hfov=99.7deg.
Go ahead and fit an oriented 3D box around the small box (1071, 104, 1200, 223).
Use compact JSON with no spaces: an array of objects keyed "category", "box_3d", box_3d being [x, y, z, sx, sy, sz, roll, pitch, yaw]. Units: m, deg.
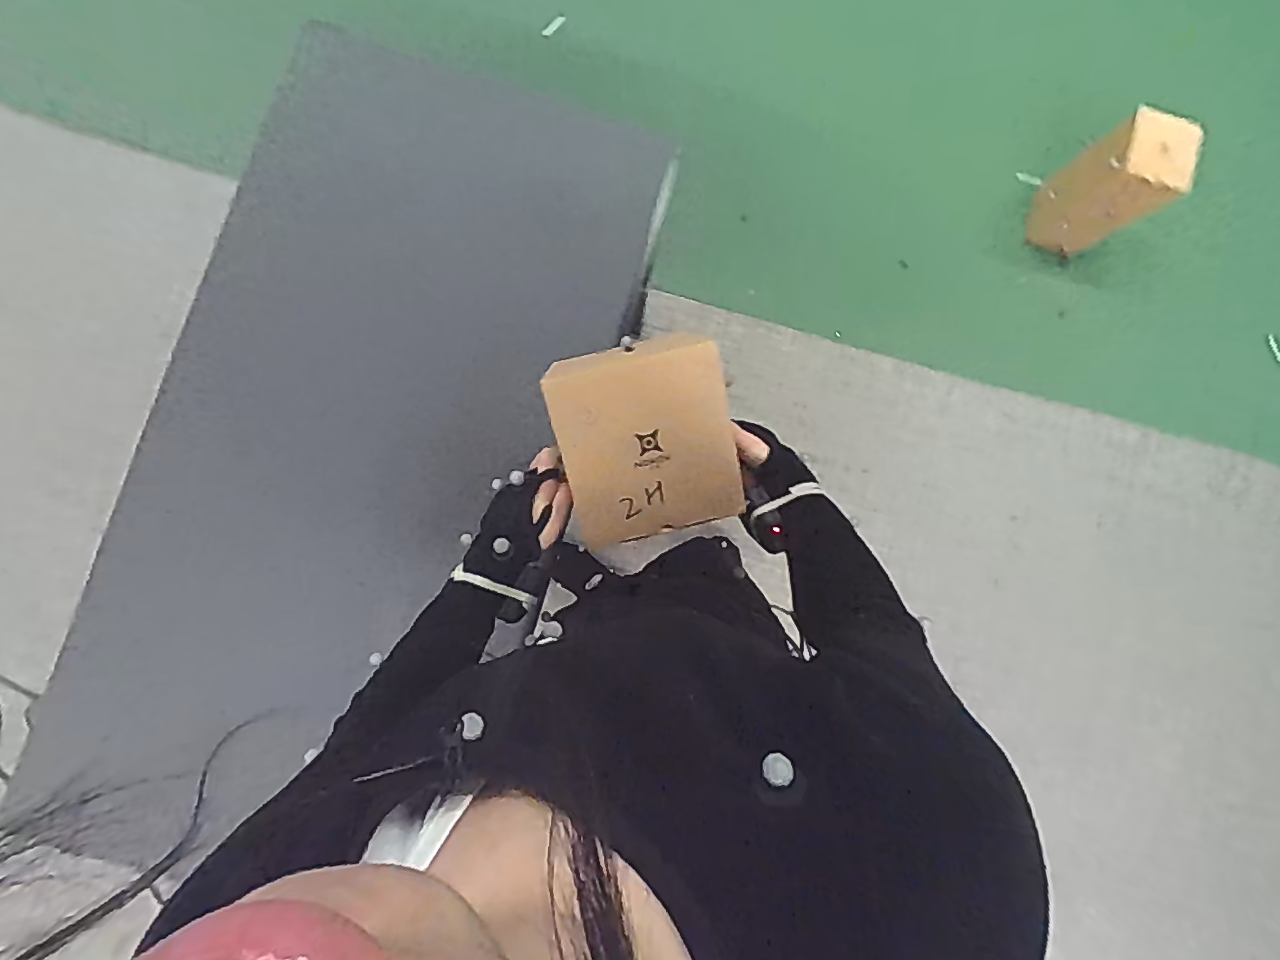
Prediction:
[{"category":"small box","box_3d":[1.258,-0.802,1.385,0.168,0.176,0.179,16,85,-2]}]
